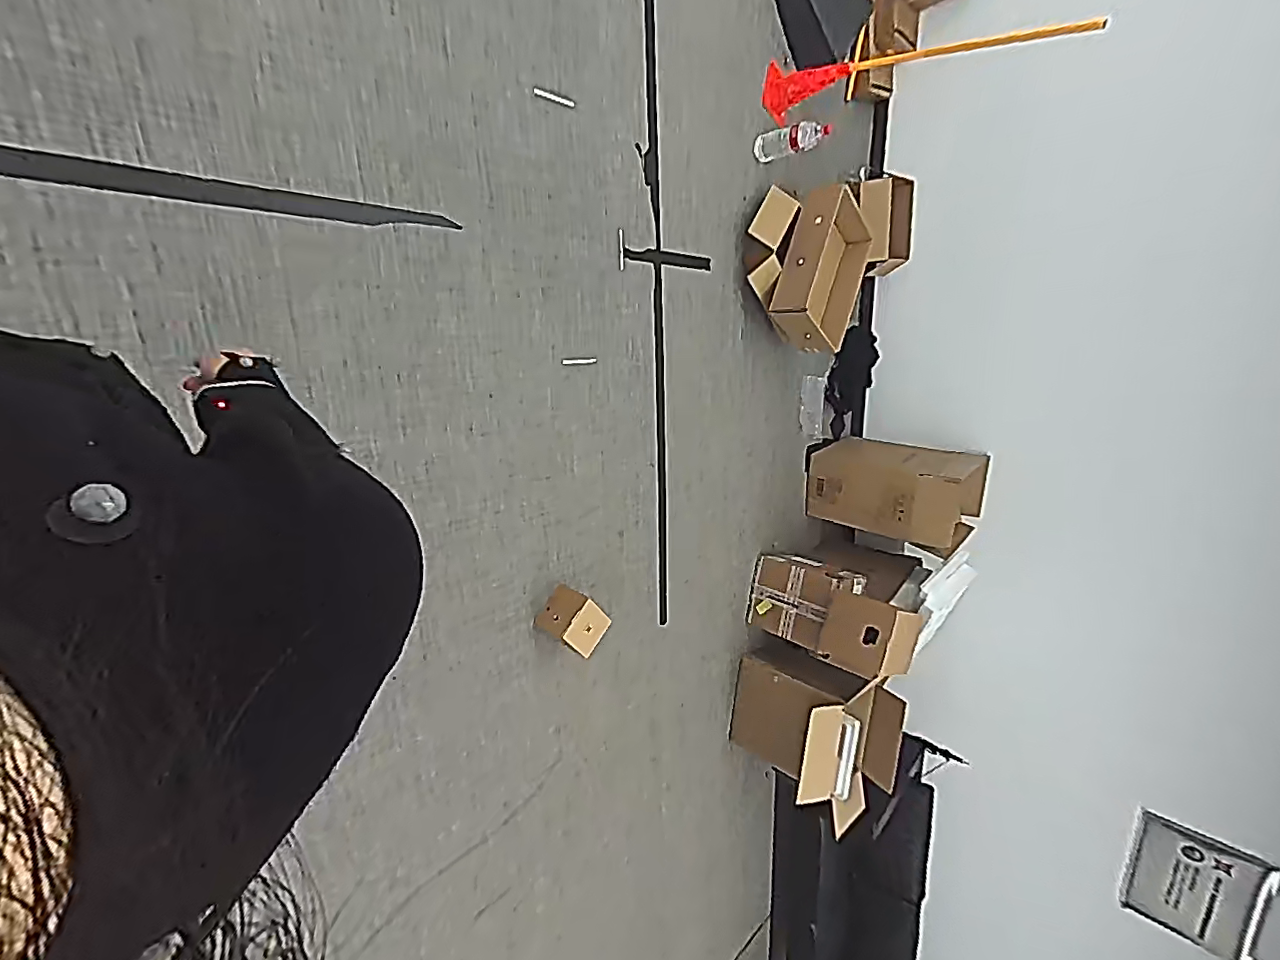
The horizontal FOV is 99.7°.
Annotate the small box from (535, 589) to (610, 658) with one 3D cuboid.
[{"bbox_3d":[-0.251,0.520,1.987,0.168,0.176,0.179,-54,134,-22],"label":"small box"}]
